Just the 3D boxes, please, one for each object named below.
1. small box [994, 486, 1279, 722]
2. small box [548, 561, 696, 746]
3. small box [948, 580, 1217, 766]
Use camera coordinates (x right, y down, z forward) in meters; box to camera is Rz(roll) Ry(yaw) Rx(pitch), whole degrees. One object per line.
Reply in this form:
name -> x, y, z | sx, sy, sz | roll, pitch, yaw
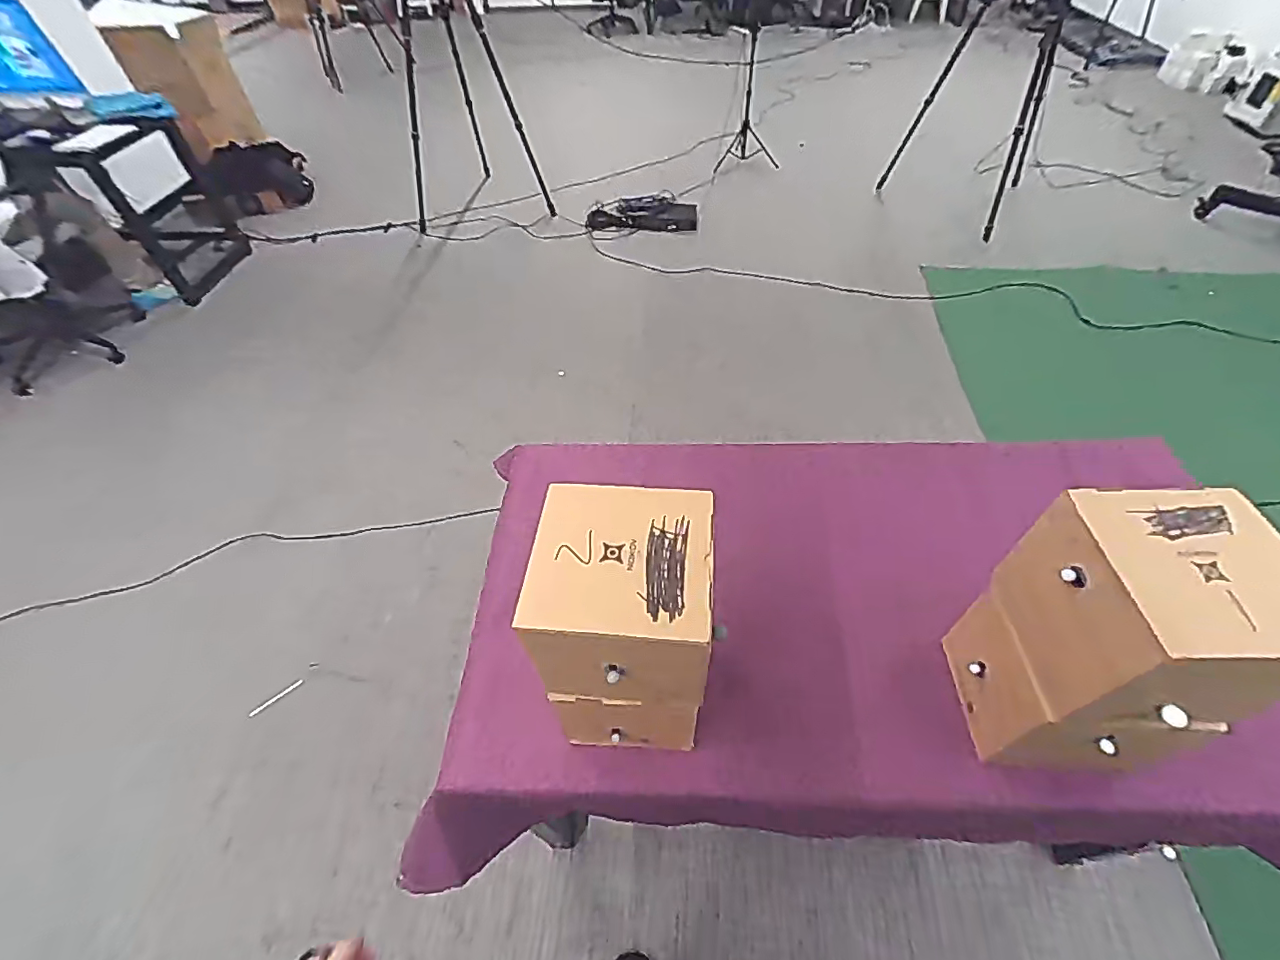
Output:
small box -> 0.499, 0.125, 0.542 | 0.168, 0.176, 0.179 | -1, 50, 3
small box -> -0.014, 0.225, 0.703 | 0.168, 0.176, 0.179 | 1, 50, 4
small box -> 0.506, 0.238, 0.661 | 0.179, 0.176, 0.168 | 2, 50, 4
